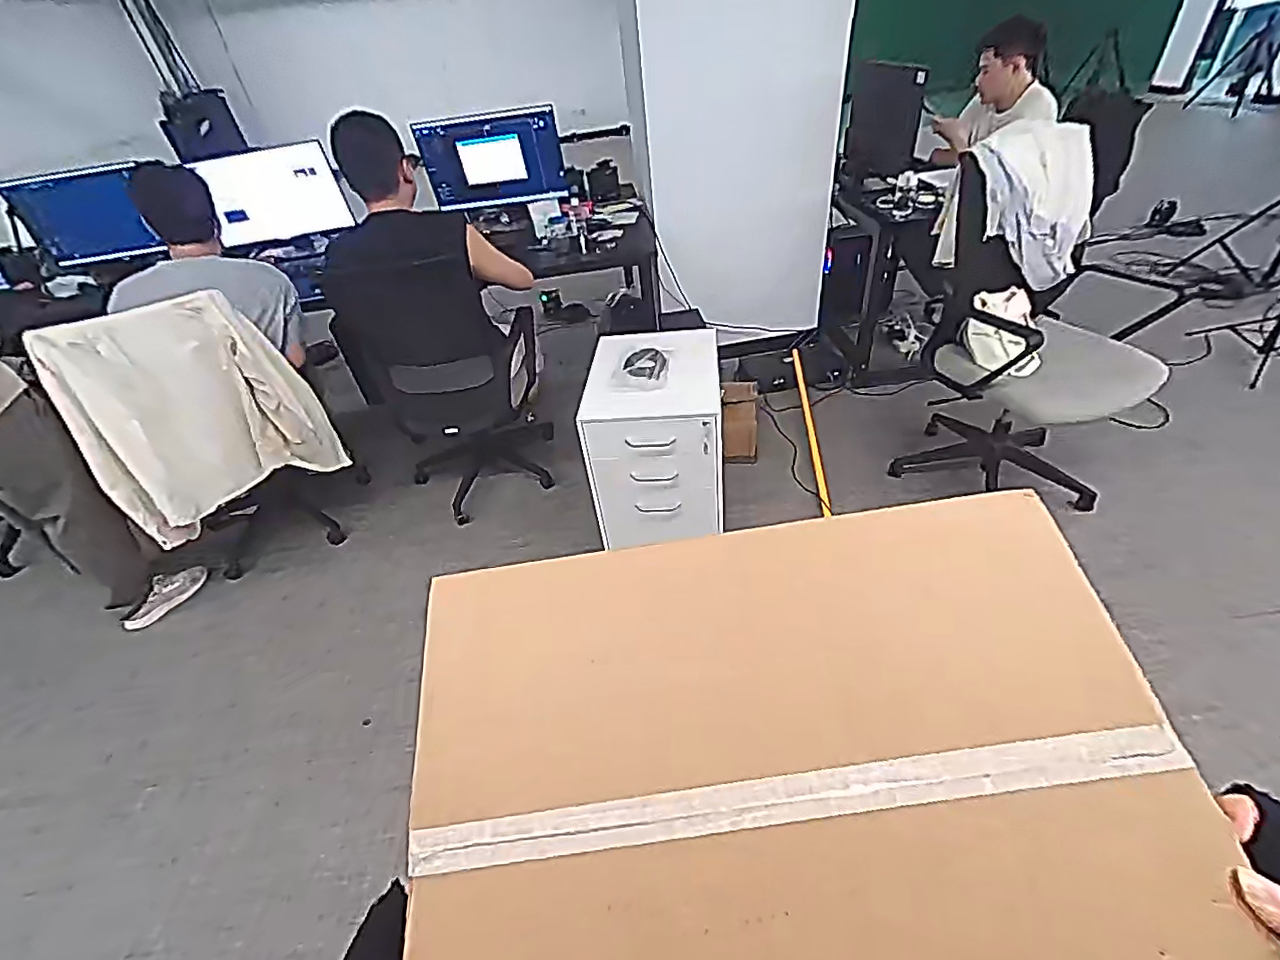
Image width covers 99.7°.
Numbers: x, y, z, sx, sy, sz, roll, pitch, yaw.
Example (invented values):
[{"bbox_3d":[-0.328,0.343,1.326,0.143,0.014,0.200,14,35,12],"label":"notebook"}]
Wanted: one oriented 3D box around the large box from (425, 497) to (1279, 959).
[{"bbox_3d":[0.094,0.249,0.421,0.408,0.320,0.320,-9,60,2],"label":"large box"}]
